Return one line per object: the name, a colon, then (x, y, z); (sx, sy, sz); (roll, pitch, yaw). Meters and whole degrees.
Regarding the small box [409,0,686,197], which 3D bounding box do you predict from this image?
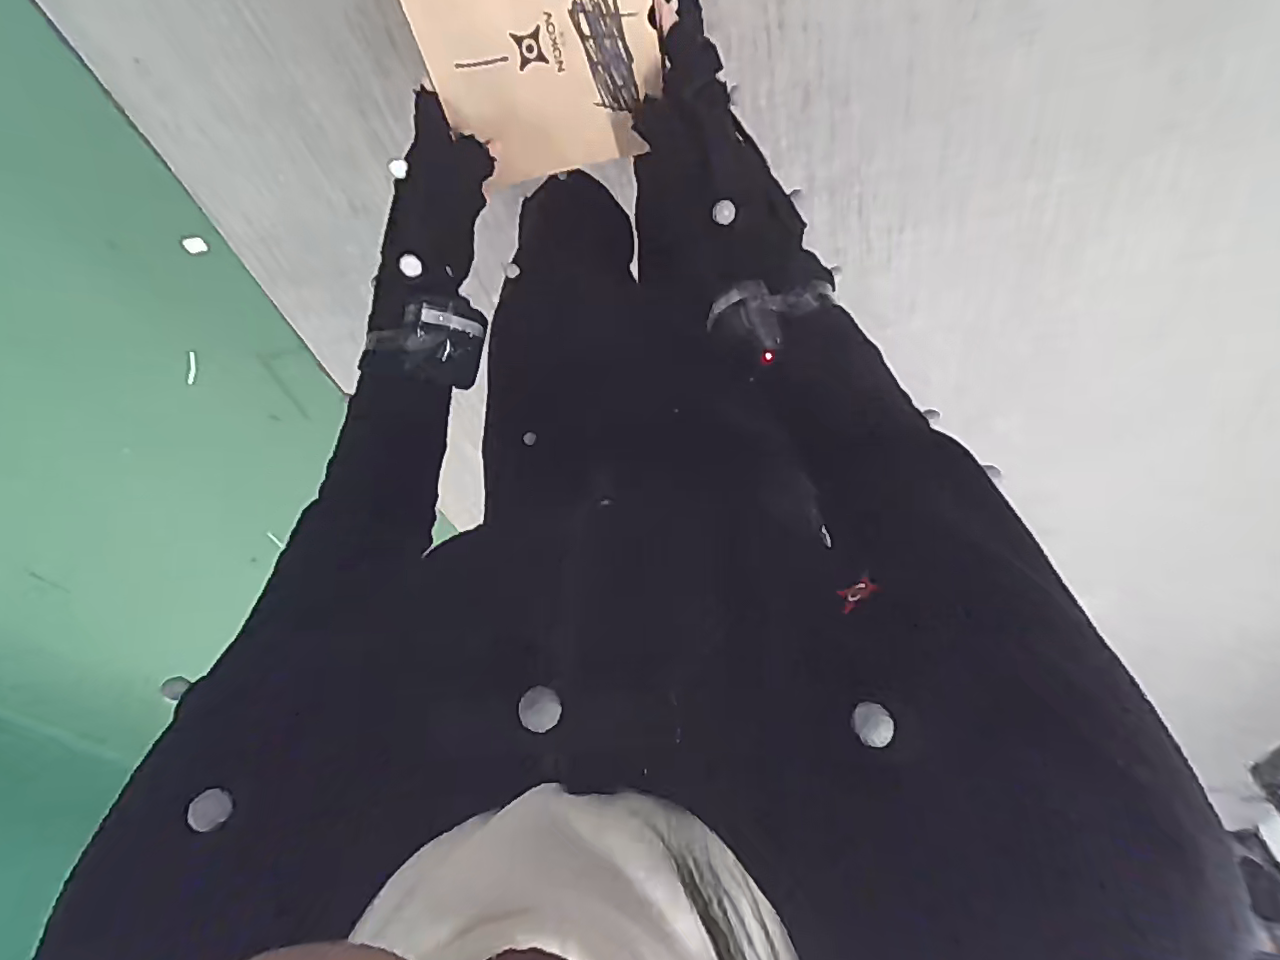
small box: (-0.069, -0.376, 0.457); (0.179, 0.176, 0.168); (-12, 136, 9)
